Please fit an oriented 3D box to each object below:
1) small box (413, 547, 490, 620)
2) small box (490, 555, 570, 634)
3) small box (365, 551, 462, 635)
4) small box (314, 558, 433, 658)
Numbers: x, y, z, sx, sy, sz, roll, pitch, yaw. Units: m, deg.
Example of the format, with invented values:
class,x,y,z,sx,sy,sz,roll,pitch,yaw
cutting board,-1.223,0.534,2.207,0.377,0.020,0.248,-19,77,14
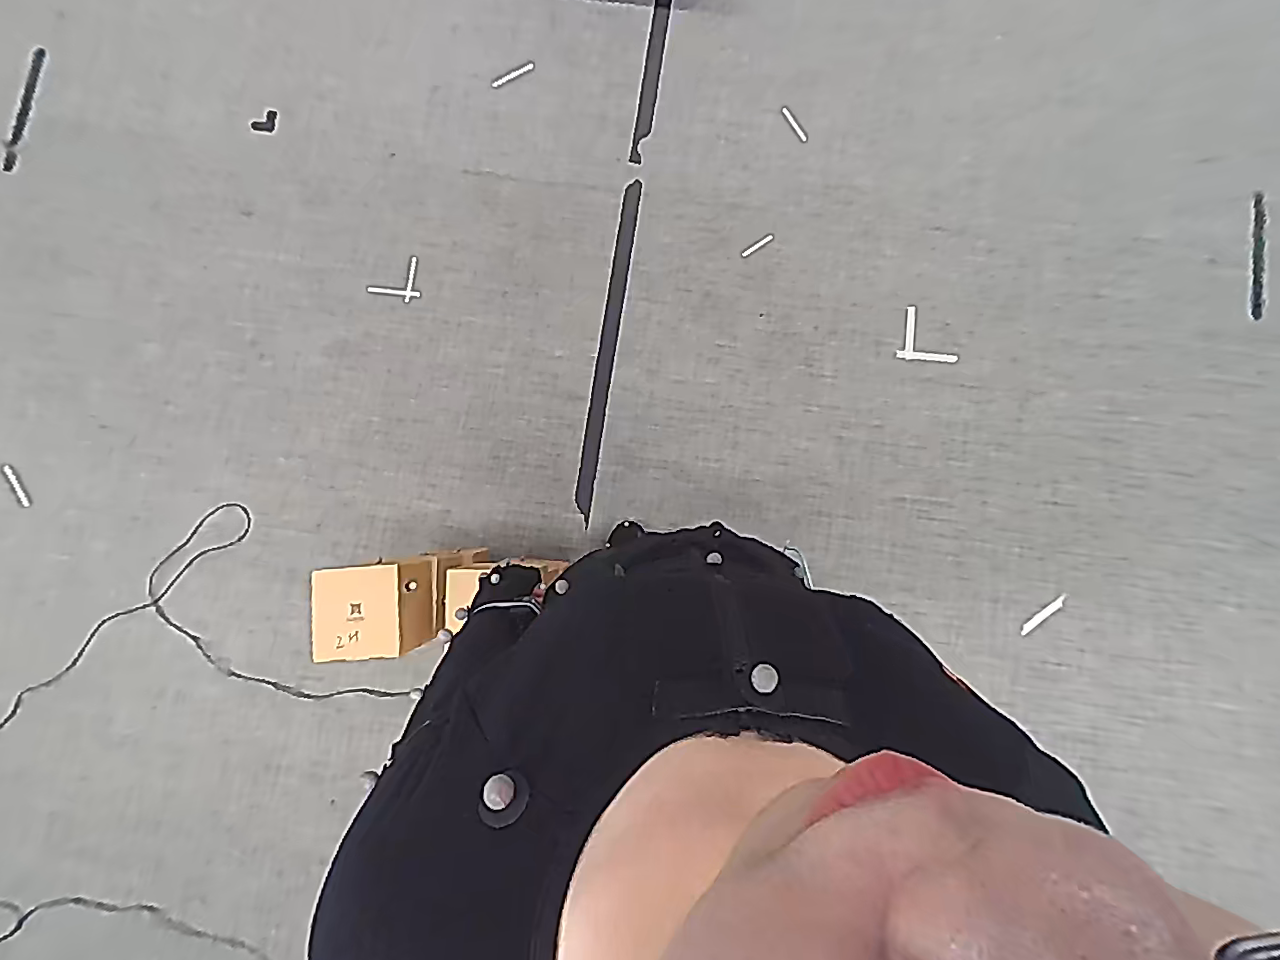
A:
class,x,y,z,sx,sy,sz,roll,pitch,yaw
small box,-0.499,0.269,1.429,0.168,0.176,0.179,-2,85,0
small box,-0.283,0.296,1.428,0.168,0.176,0.179,5,86,1
small box,-0.526,0.259,1.265,0.168,0.176,0.179,-1,84,0
small box,-0.533,0.251,1.100,0.168,0.176,0.179,-4,85,0
